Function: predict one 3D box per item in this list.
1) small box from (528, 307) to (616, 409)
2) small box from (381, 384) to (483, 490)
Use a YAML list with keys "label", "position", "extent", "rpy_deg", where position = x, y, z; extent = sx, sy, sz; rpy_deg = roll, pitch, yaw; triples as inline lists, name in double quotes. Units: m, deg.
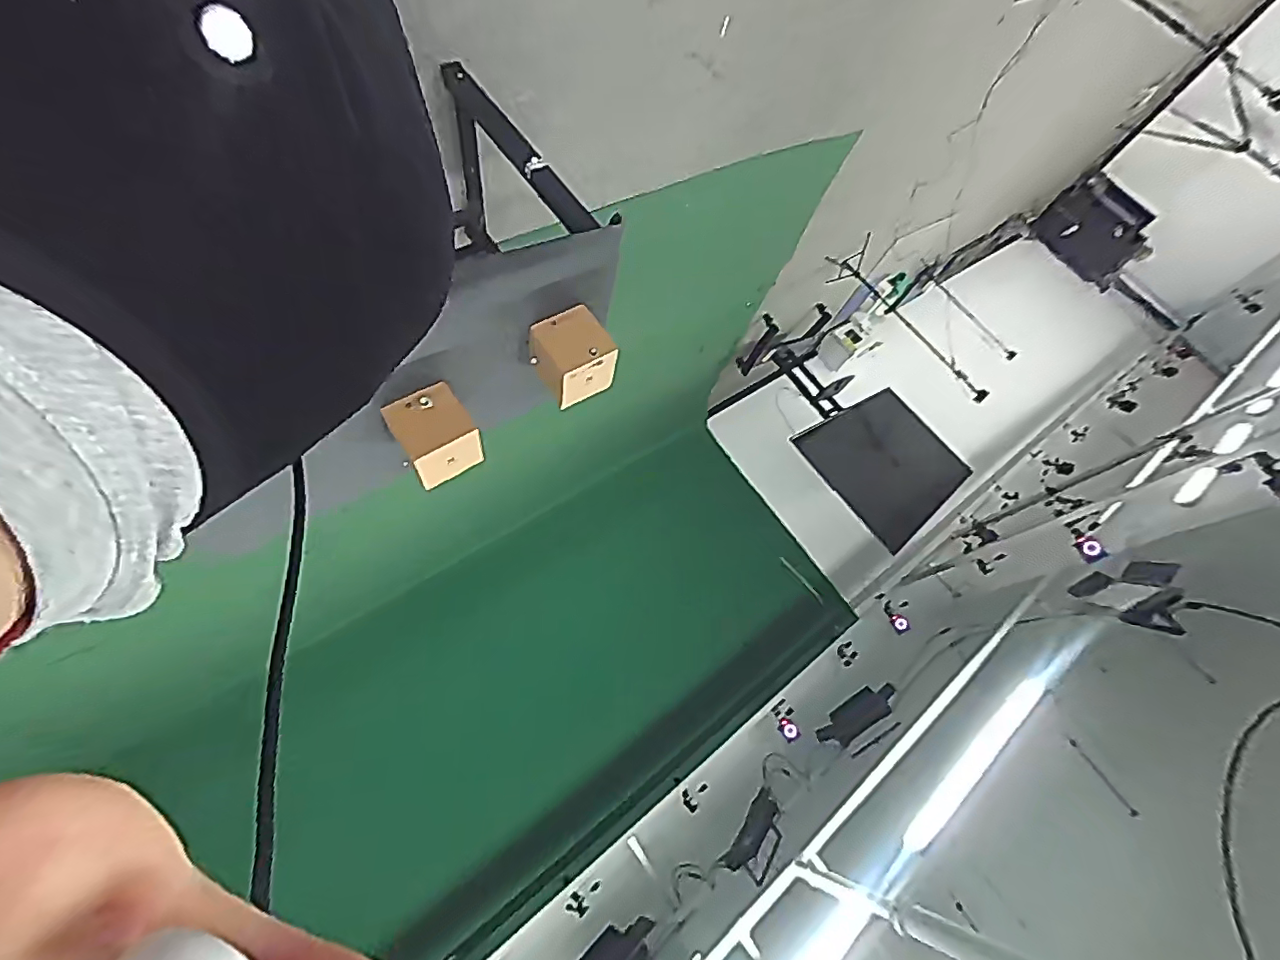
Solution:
- label: "small box"
  position: [-0.189, -0.330, 1.456]
  extent: [0.168, 0.176, 0.179]
  rpy_deg: [-32, 167, -22]
- label: "small box"
  position: [-0.519, -0.109, 1.362]
  extent: [0.168, 0.176, 0.179]
  rpy_deg: [-33, 165, -22]
